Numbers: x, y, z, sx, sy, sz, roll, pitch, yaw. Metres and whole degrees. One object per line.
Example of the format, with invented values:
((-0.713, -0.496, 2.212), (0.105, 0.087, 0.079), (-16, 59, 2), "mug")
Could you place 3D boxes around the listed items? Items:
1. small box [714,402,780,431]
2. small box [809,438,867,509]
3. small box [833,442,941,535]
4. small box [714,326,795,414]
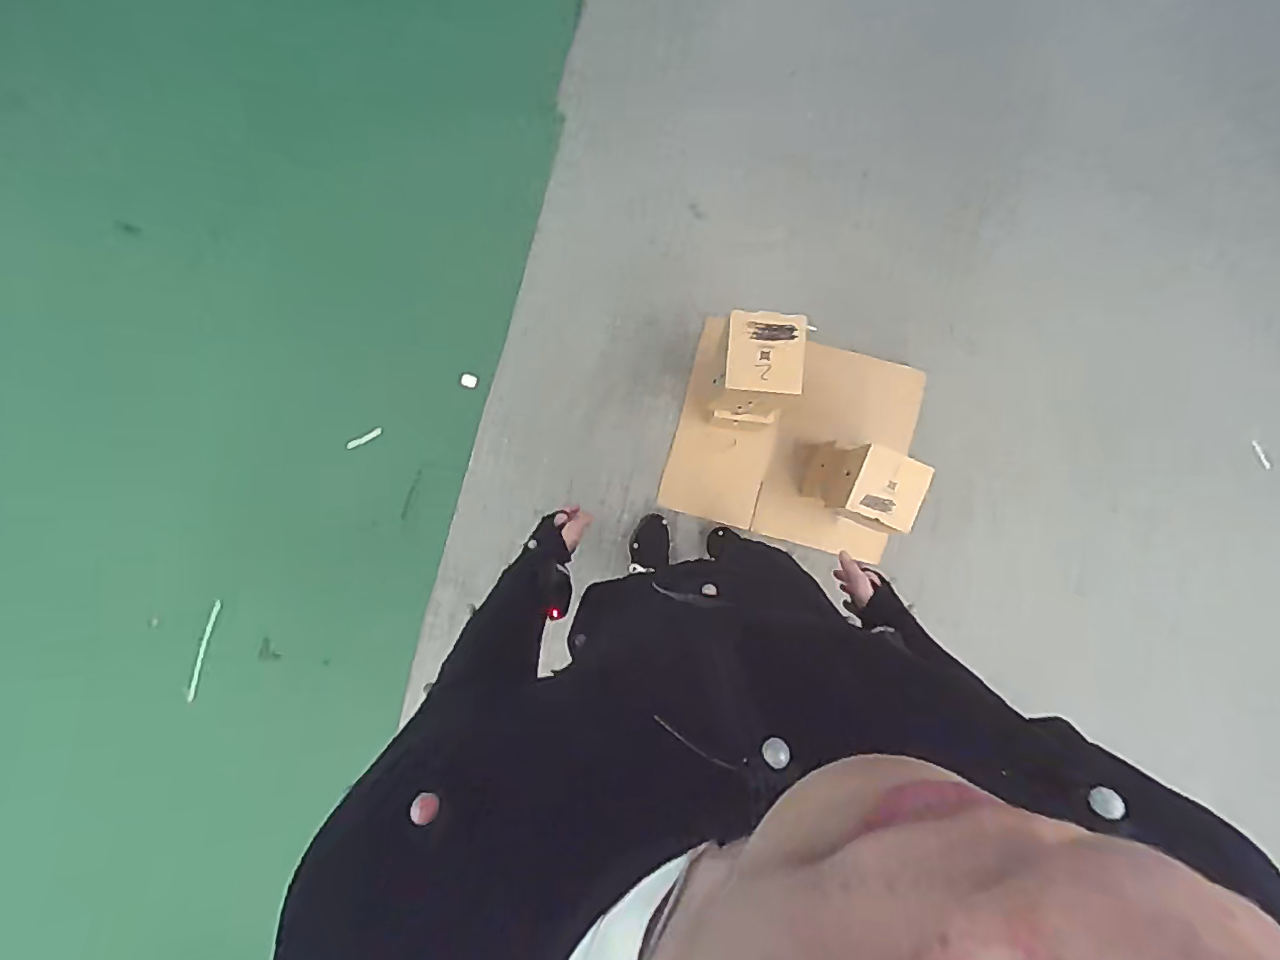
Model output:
((0.308, -0.247, 1.553), (0.168, 0.176, 0.179), (8, 87, 3), "small box")
((0.594, -0.001, 1.528), (0.168, 0.176, 0.179), (20, 87, 3), "small box")
((0.608, 0.025, 1.360), (0.168, 0.176, 0.179), (24, 87, 3), "small box")
((0.287, -0.275, 1.390), (0.168, 0.176, 0.179), (9, 87, 2), "small box")
